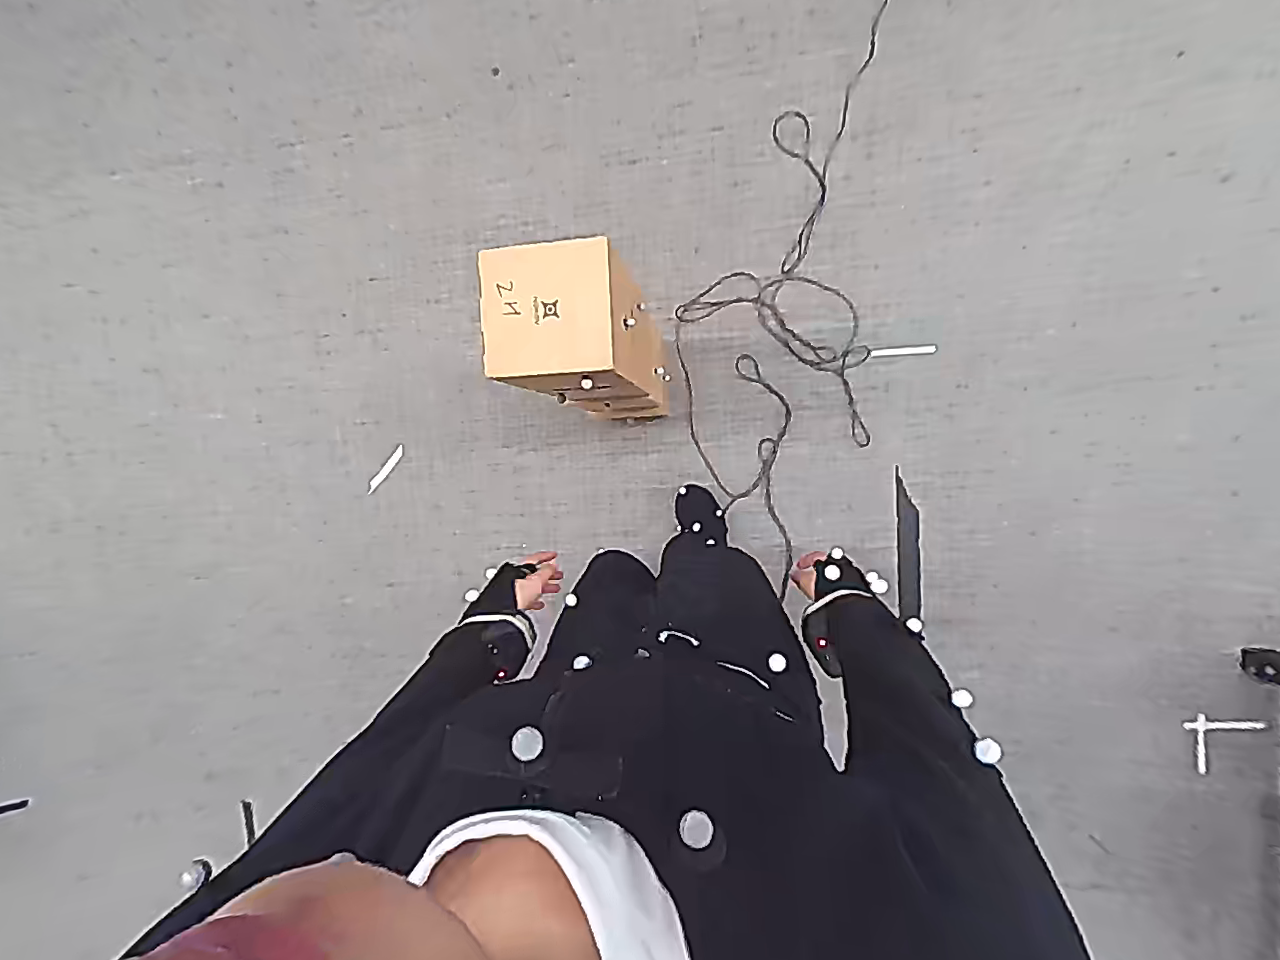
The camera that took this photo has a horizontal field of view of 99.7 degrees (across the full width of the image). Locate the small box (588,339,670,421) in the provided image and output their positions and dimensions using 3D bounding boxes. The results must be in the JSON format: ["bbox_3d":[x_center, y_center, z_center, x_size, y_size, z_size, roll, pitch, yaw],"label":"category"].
[{"bbox_3d":[-0.023,-0.230,1.252,0.168,0.176,0.179,-2,94,10],"label":"small box"}]

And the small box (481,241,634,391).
[{"bbox_3d":[-0.105,-0.219,0.766,0.179,0.176,0.168,-1,93,11],"label":"small box"}]

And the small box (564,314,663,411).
[{"bbox_3d":[-0.049,-0.229,1.092,0.179,0.176,0.168,-2,94,11],"label":"small box"}]
